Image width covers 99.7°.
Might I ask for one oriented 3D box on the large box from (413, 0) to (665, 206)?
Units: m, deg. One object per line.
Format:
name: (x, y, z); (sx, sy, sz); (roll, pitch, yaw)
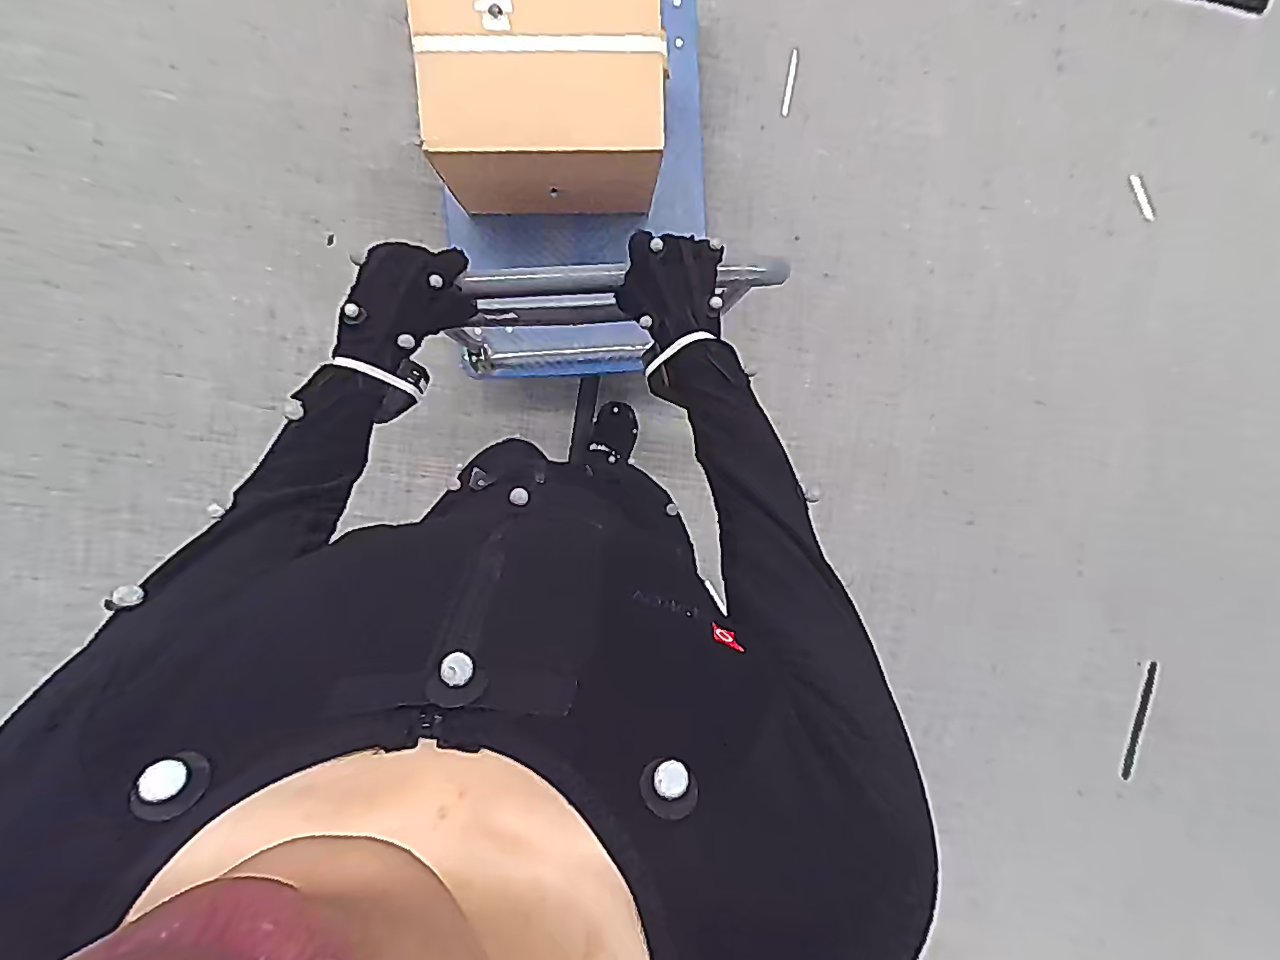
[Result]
large box: (-0.168, -0.733, 1.026); (0.408, 0.320, 0.320); (-2, 99, -3)
